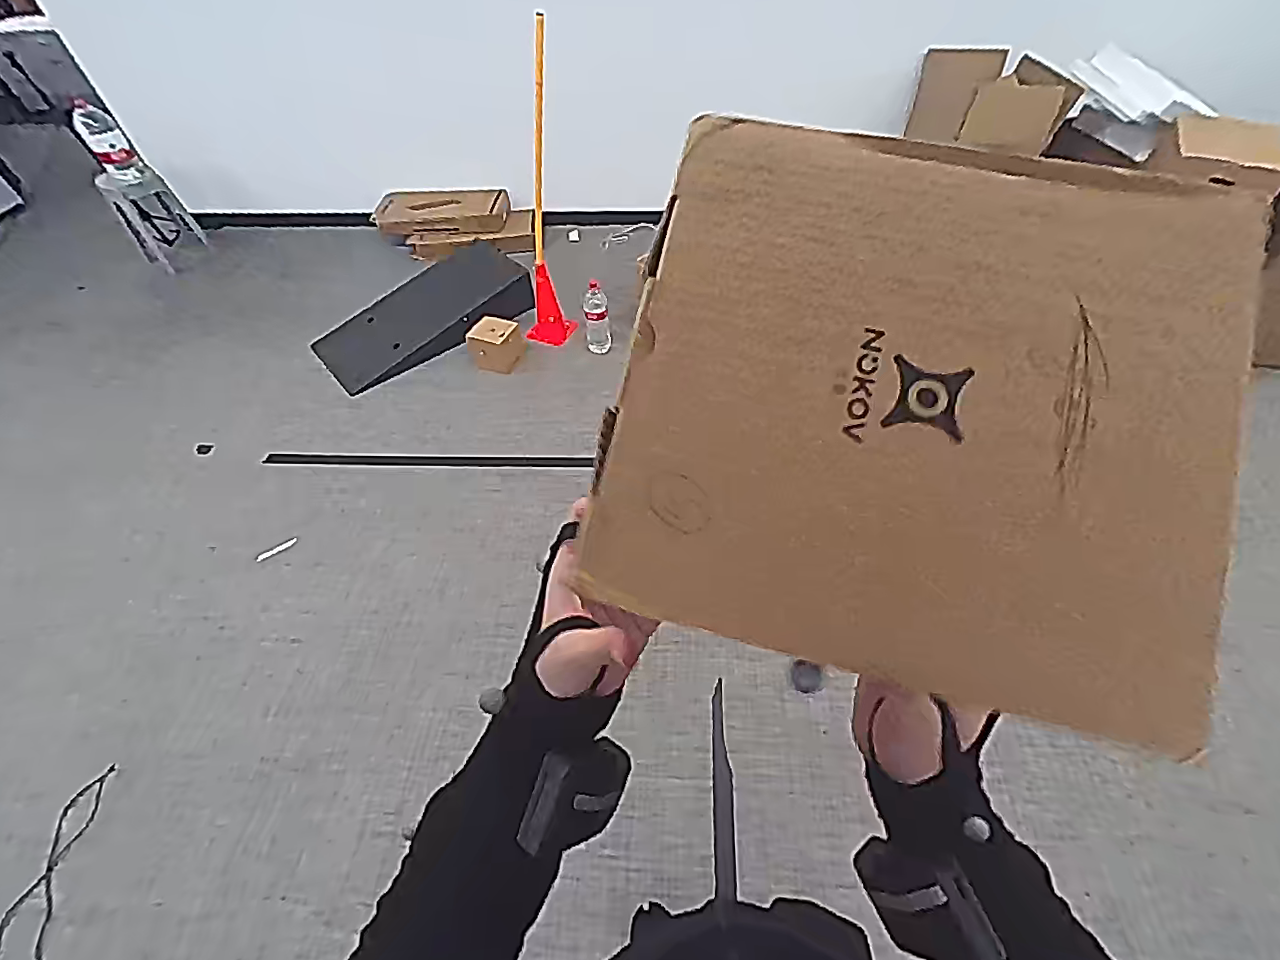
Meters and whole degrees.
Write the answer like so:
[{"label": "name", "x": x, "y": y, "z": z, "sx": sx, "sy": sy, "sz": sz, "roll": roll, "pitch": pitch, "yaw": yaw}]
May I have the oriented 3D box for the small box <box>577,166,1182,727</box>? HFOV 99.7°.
[{"label": "small box", "x": 0.086, "y": -0.008, "z": 0.254, "sx": 0.179, "sy": 0.176, "sz": 0.168, "roll": 10, "pitch": 81, "yaw": 6}]
